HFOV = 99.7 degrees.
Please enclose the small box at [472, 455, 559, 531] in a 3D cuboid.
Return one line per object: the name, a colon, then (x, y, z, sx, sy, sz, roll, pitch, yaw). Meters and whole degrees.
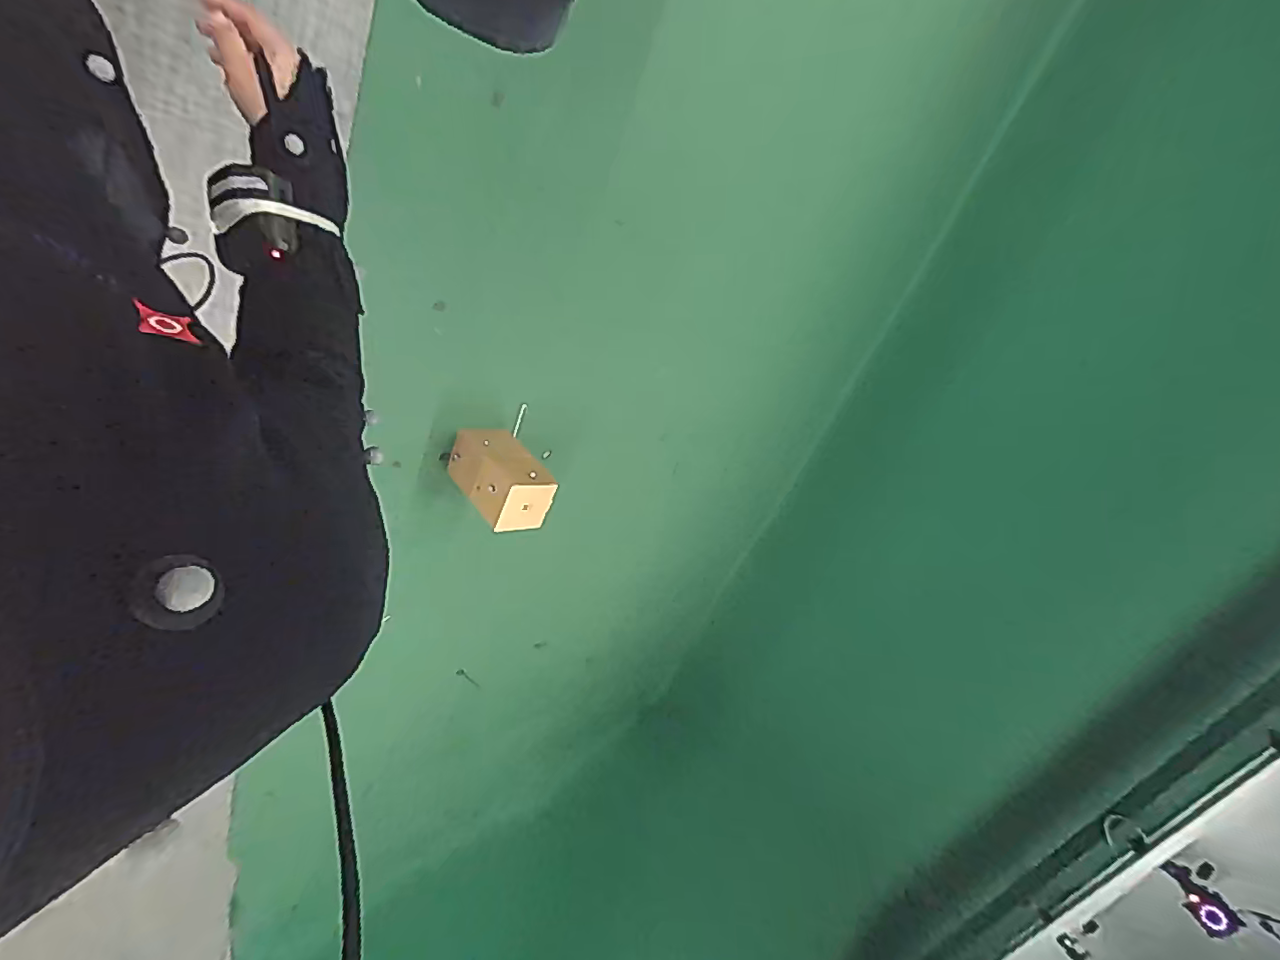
small box: (-0.386, 0.035, 1.652, 0.179, 0.176, 0.168, -2, 125, -50)
